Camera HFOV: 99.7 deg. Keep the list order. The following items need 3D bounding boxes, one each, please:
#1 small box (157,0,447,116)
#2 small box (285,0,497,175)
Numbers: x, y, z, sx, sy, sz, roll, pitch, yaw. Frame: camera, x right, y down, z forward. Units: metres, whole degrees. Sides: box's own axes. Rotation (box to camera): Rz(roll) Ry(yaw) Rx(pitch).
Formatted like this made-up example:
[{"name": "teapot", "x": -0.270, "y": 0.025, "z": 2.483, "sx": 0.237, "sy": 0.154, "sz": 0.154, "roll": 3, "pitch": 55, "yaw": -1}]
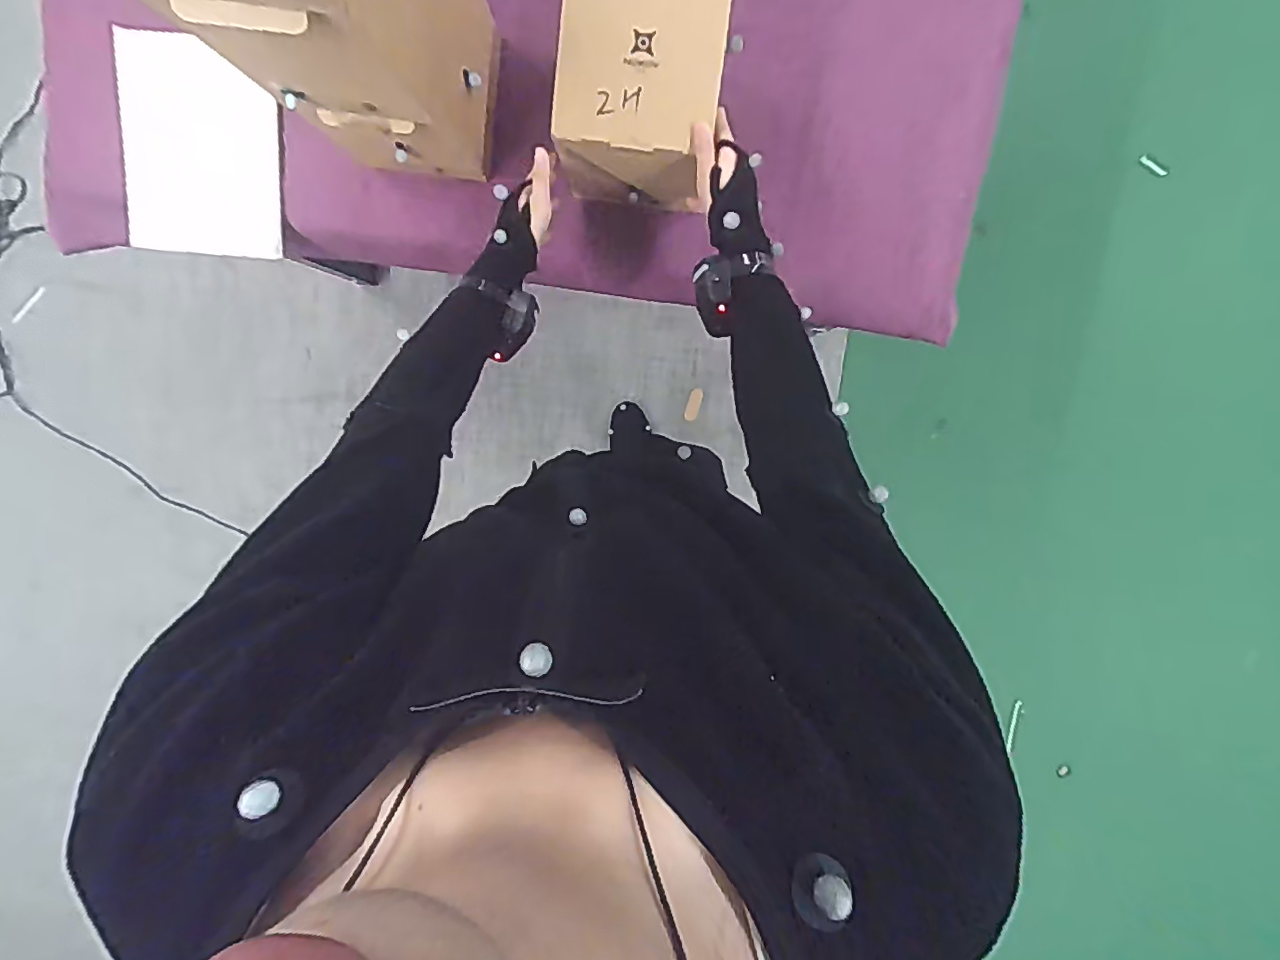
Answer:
[{"name": "small box", "x": -0.274, "y": -0.445, "z": 0.455, "sx": 0.168, "sy": 0.176, "sz": 0.179, "roll": 8, "pitch": 98, "yaw": 0}, {"name": "small box", "x": -0.270, "y": -0.476, "z": 0.617, "sx": 0.168, "sy": 0.176, "sz": 0.179, "roll": 8, "pitch": 99, "yaw": 0}]
